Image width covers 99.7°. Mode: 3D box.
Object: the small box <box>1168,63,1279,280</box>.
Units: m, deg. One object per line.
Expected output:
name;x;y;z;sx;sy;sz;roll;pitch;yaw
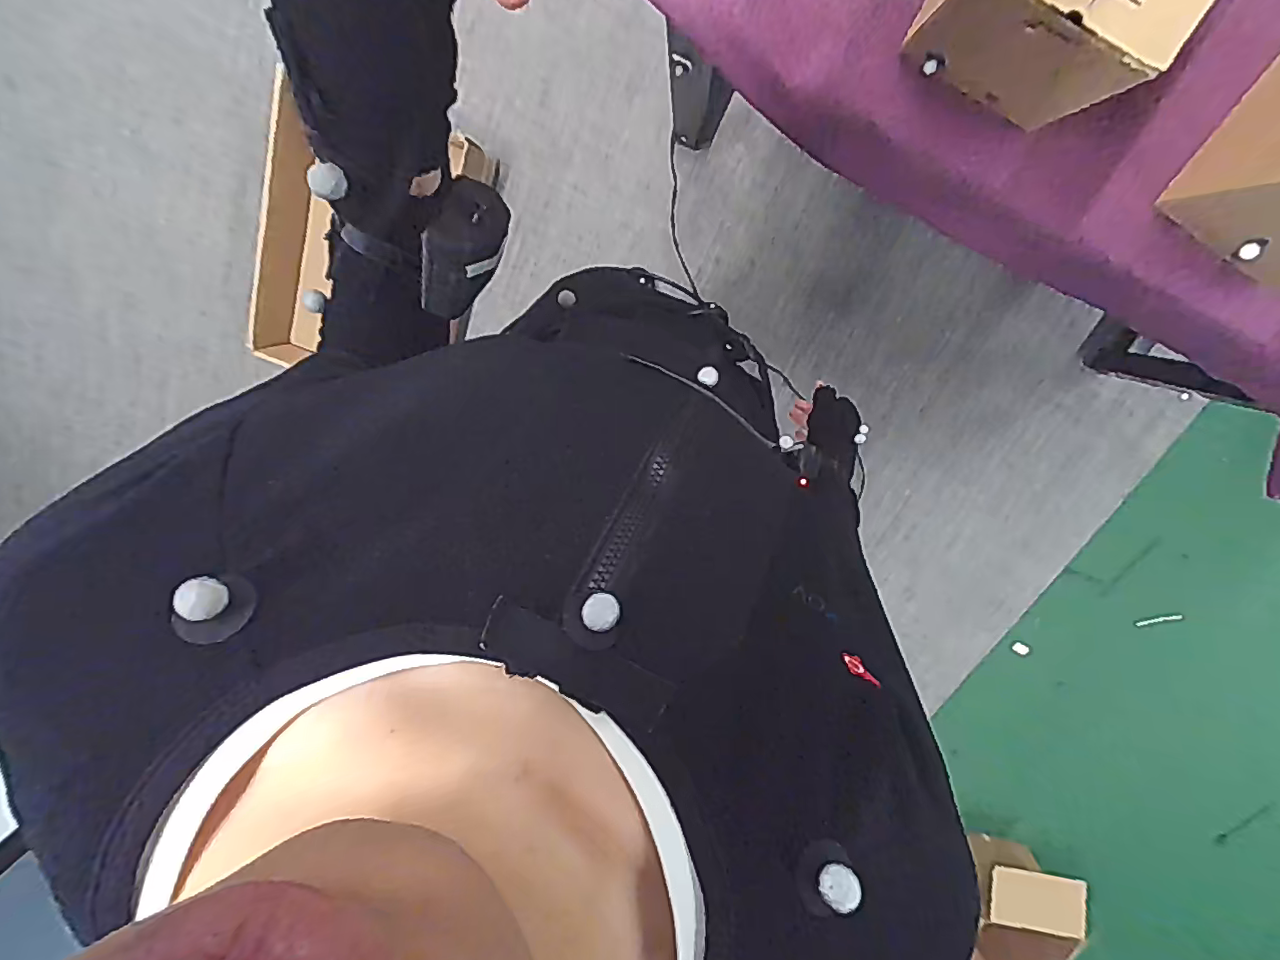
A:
small box;0.658;-0.297;0.483;0.168;0.176;0.179;30;110;-6

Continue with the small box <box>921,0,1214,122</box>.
small box;0.370;-0.442;0.451;0.168;0.176;0.179;27;110;-5
